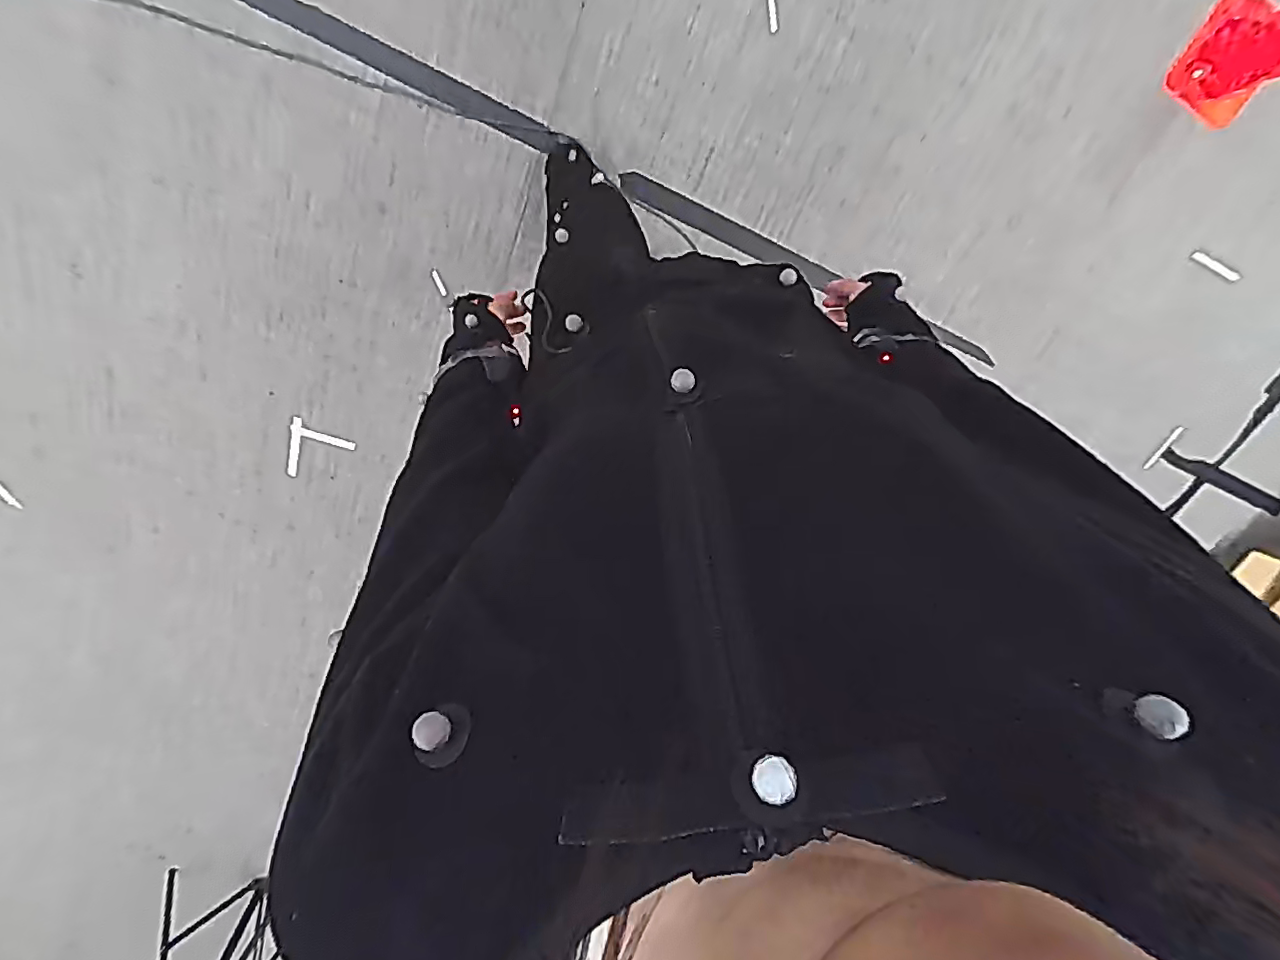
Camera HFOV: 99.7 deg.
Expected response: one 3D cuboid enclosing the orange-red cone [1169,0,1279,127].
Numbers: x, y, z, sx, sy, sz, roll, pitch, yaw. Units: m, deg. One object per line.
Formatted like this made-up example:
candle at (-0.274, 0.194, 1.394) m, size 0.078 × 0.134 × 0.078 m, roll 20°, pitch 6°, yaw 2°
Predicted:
orange-red cone at (1.237, -0.798, 0.967) m, size 0.199 × 0.360 × 0.198 m, roll 23°, pitch 113°, yaw -15°
